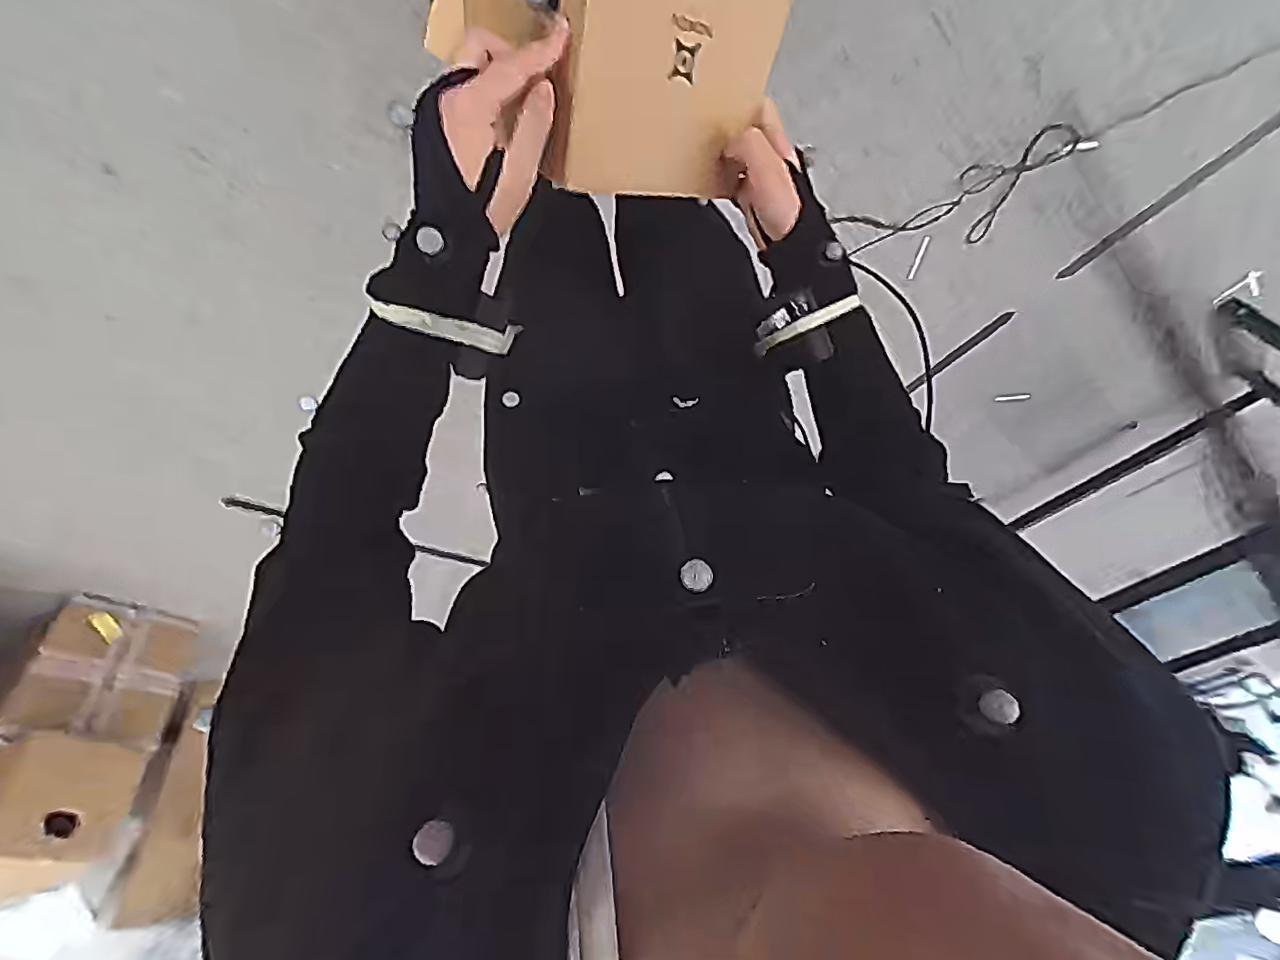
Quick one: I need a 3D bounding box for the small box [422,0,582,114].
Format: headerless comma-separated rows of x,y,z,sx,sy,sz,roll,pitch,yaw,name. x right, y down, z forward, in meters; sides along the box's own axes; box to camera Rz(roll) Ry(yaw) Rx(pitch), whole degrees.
-0.186,-0.654,0.736,0.168,0.176,0.179,12,133,-30,small box
